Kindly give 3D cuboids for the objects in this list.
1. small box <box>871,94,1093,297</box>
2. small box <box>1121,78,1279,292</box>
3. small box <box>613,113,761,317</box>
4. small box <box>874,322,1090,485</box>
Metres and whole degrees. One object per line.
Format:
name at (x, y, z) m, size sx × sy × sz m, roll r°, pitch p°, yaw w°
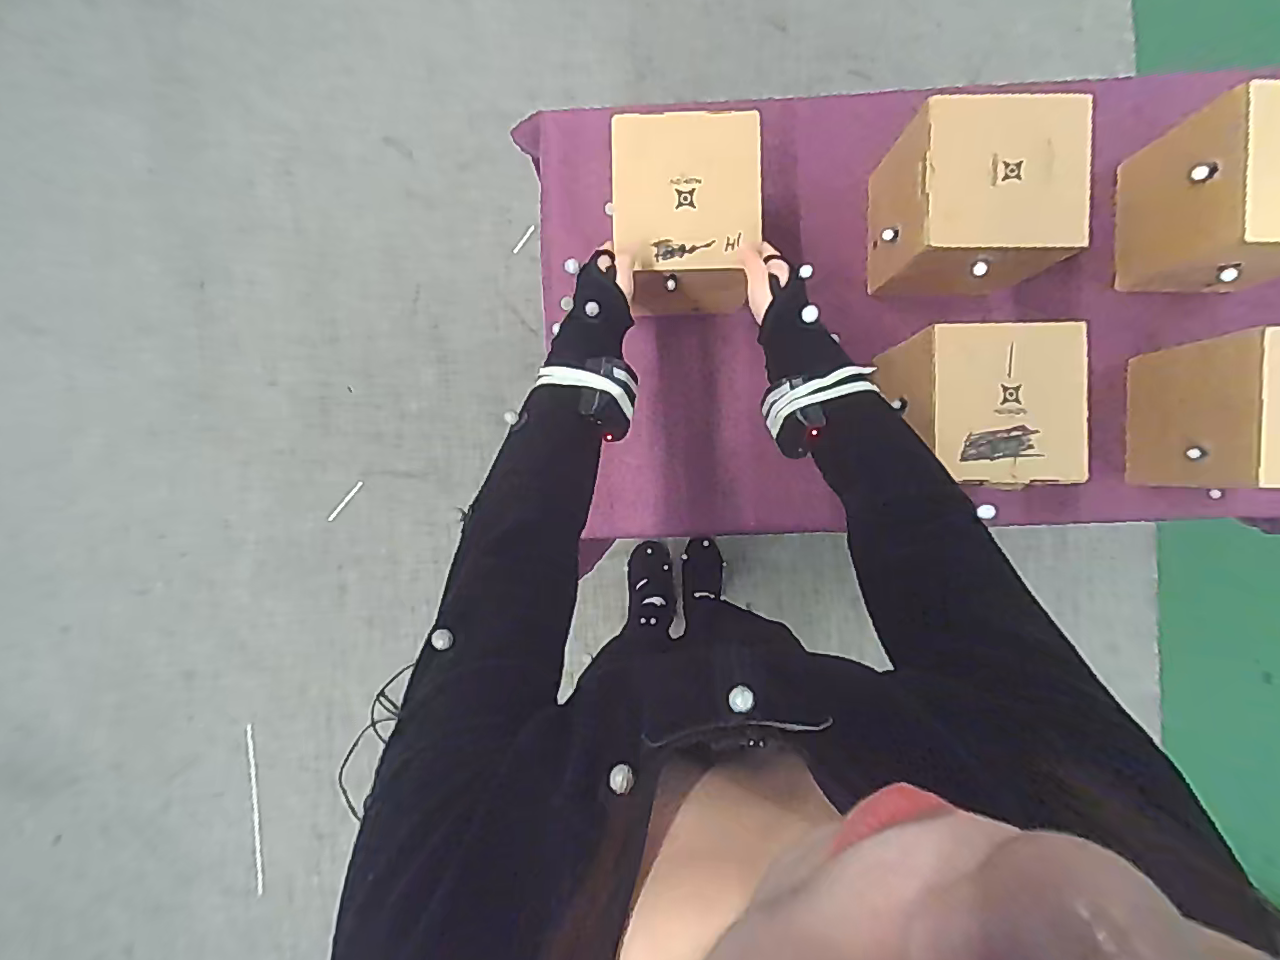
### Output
small box at (0.400, -0.333, 0.662) m, size 0.179 × 0.176 × 0.168 m, roll 1°, pitch 91°, yaw 2°
small box at (0.727, -0.336, 0.648) m, size 0.168 × 0.176 × 0.179 m, roll 2°, pitch 90°, yaw 3°
small box at (0.054, -0.317, 0.675) m, size 0.168 × 0.176 × 0.179 m, roll 0°, pitch 89°, yaw 2°
small box at (0.401, -0.083, 0.661) m, size 0.168 × 0.176 × 0.179 m, roll 0°, pitch 89°, yaw 2°
